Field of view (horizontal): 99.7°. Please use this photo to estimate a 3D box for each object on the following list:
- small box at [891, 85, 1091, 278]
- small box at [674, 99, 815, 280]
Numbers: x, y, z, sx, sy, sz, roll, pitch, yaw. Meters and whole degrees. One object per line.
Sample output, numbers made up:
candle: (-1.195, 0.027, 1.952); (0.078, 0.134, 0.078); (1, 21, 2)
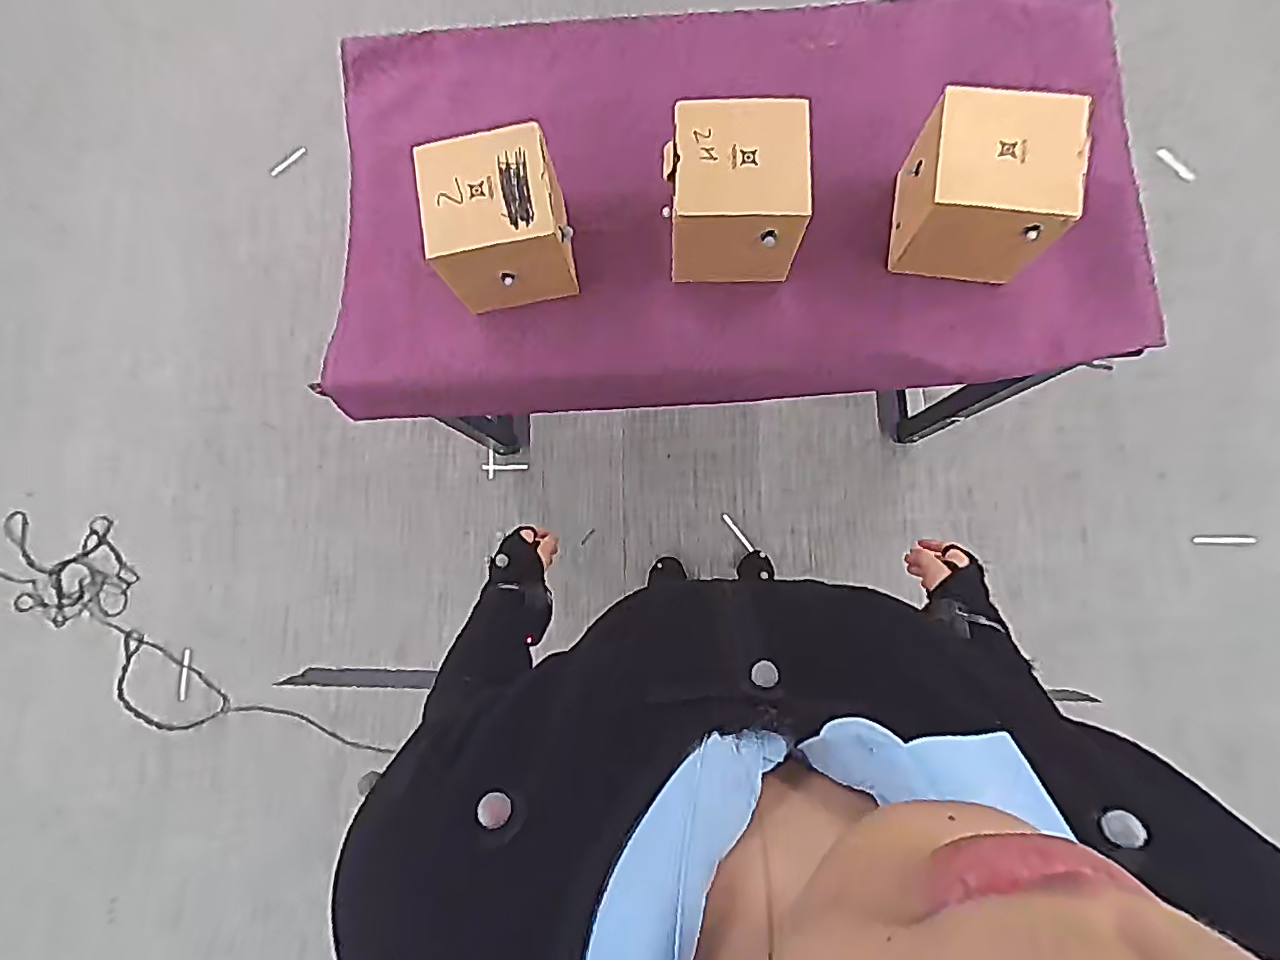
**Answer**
small box: (0.469, -0.400, 0.748); (0.179, 0.176, 0.168); (8, 83, 5)
small box: (0.139, -0.401, 0.770); (0.179, 0.176, 0.168); (1, 82, 4)
